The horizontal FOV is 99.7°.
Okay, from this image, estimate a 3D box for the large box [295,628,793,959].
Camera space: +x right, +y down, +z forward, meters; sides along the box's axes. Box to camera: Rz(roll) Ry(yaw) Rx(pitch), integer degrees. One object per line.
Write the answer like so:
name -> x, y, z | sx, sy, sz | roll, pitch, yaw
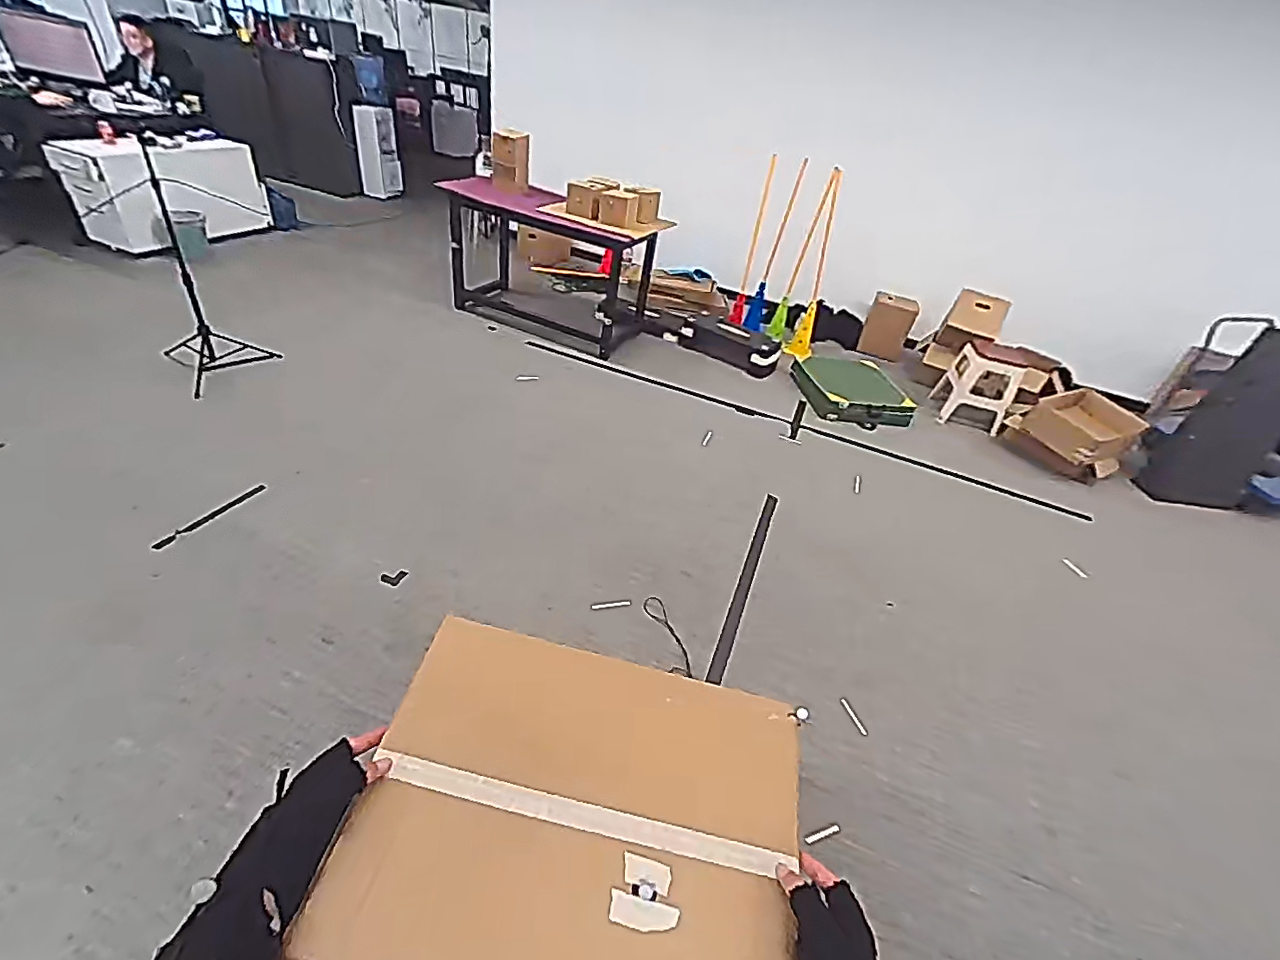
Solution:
large box -> -0.074, 0.421, 0.617 | 0.408, 0.320, 0.320 | 15, 46, 2
